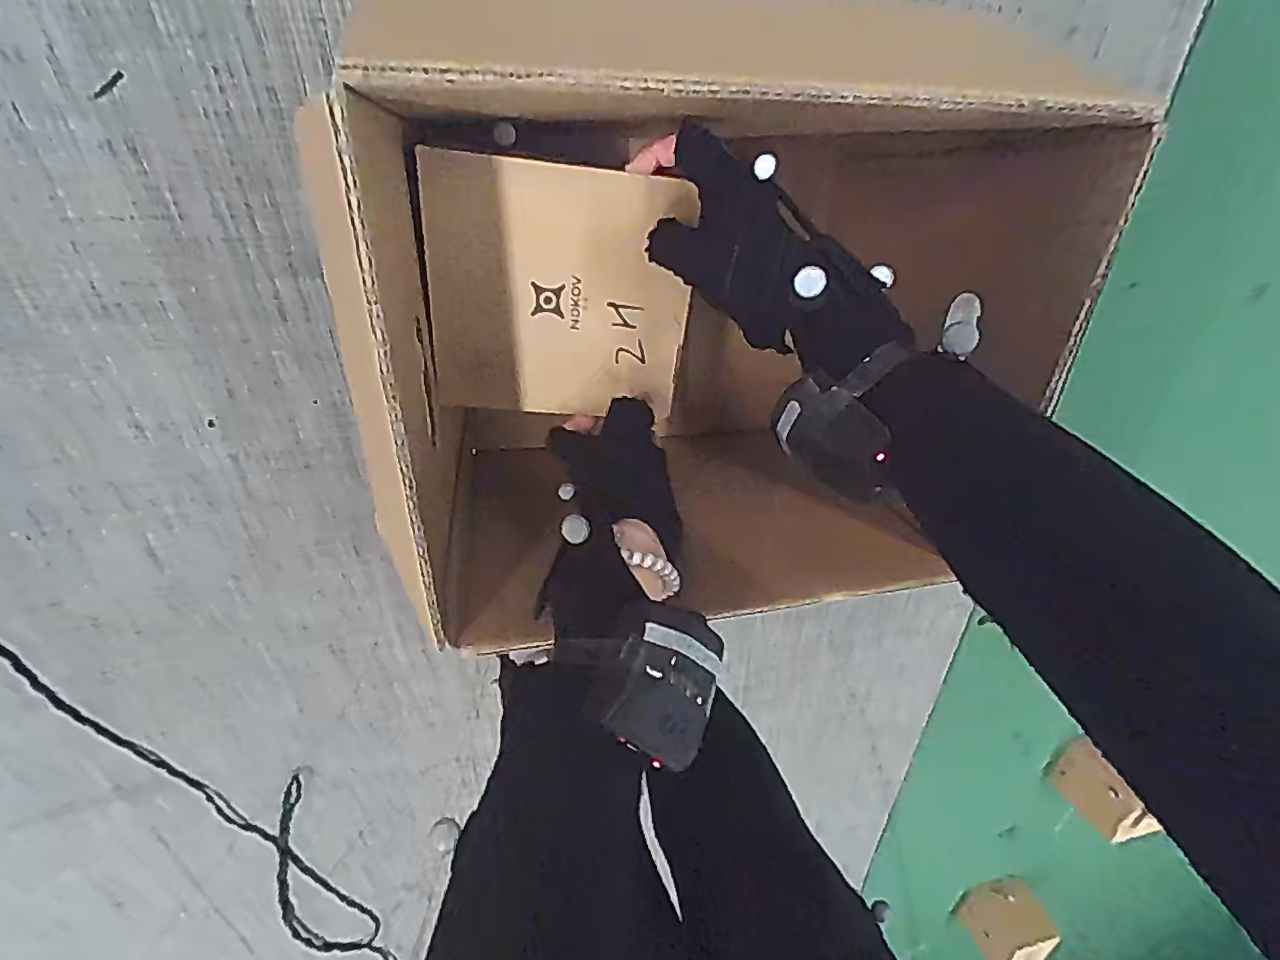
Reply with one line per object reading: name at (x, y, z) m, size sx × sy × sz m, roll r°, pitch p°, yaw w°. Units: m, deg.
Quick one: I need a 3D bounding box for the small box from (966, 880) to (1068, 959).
small box at (1.144, 1.376, 1.660) m, size 0.168 × 0.176 × 0.179 m, roll -6°, pitch 120°, yaw -12°
